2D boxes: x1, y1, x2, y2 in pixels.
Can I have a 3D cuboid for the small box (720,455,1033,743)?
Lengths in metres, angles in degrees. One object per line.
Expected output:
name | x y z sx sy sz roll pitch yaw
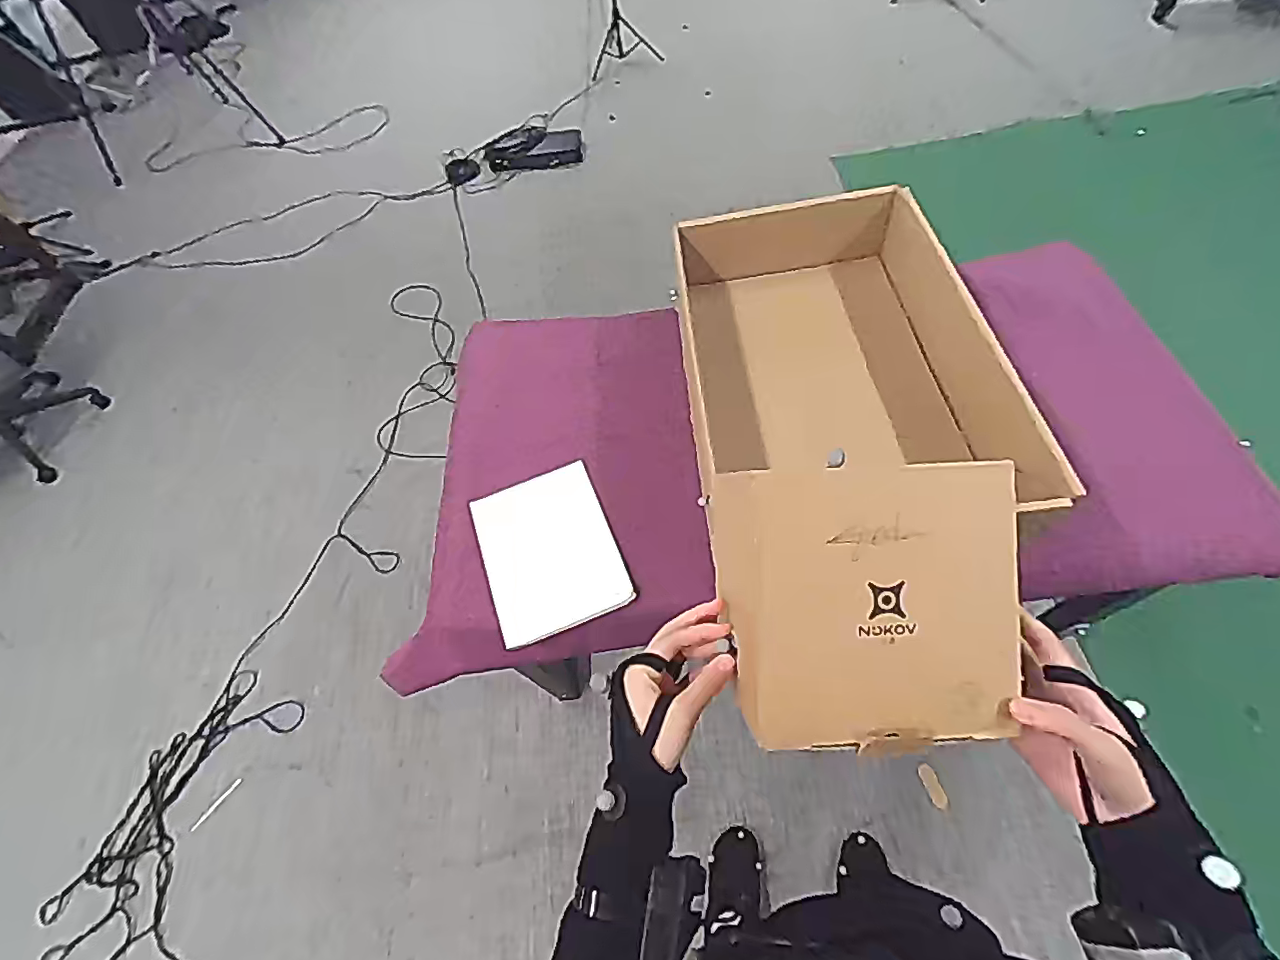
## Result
small box | 0.155 0.072 0.408 0.168 0.176 0.179 -2 90 -1
